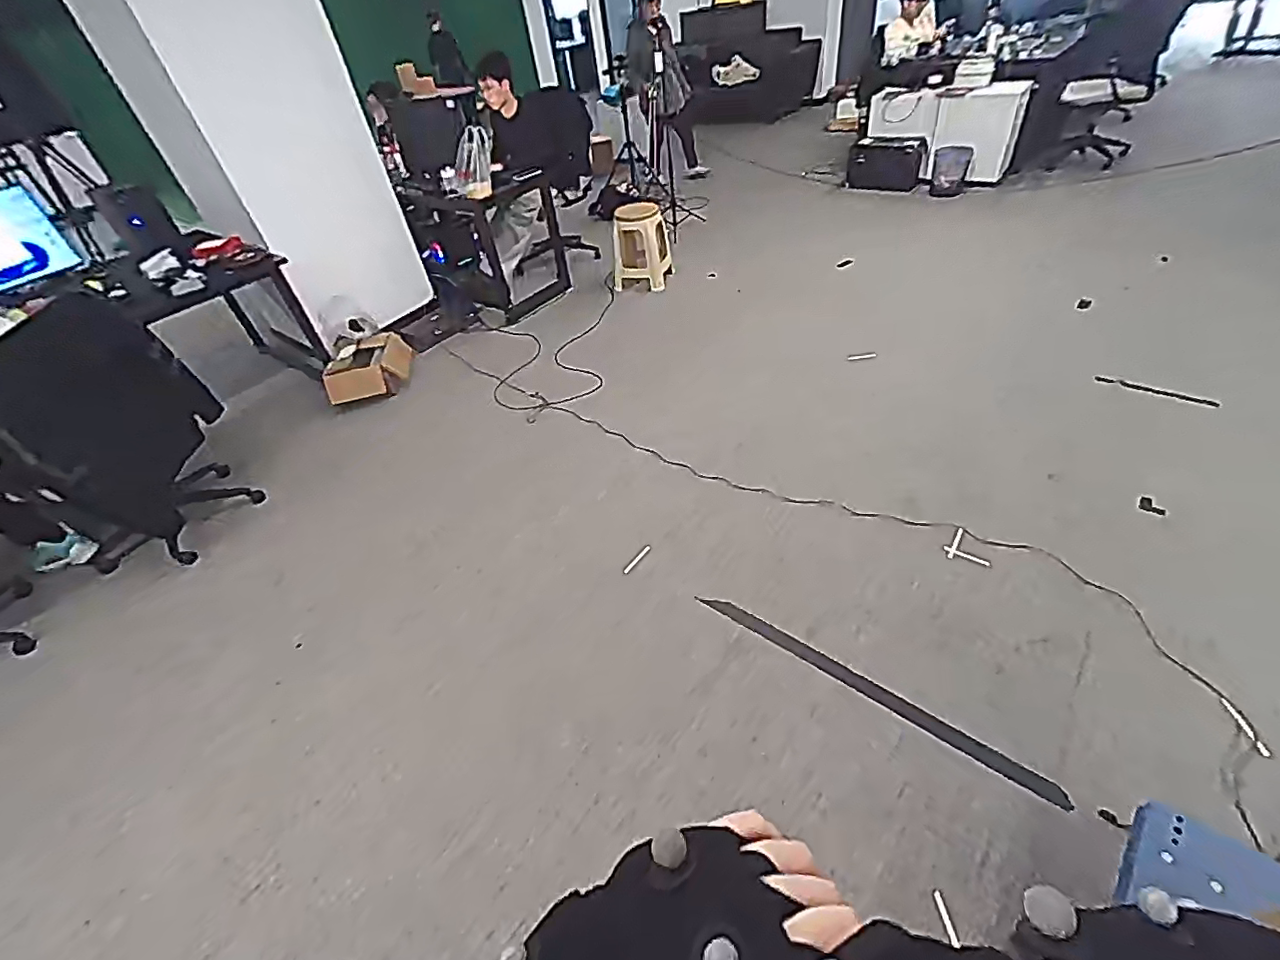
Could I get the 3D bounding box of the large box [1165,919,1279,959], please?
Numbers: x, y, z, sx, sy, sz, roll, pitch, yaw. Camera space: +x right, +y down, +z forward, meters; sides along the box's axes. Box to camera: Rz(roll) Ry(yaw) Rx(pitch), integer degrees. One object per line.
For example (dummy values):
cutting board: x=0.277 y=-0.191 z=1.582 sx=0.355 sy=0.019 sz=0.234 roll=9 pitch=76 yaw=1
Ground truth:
large box: x=0.978 y=0.837 z=0.652 sx=0.408 sy=0.320 sz=0.320 roll=17 pitch=50 yaw=26
